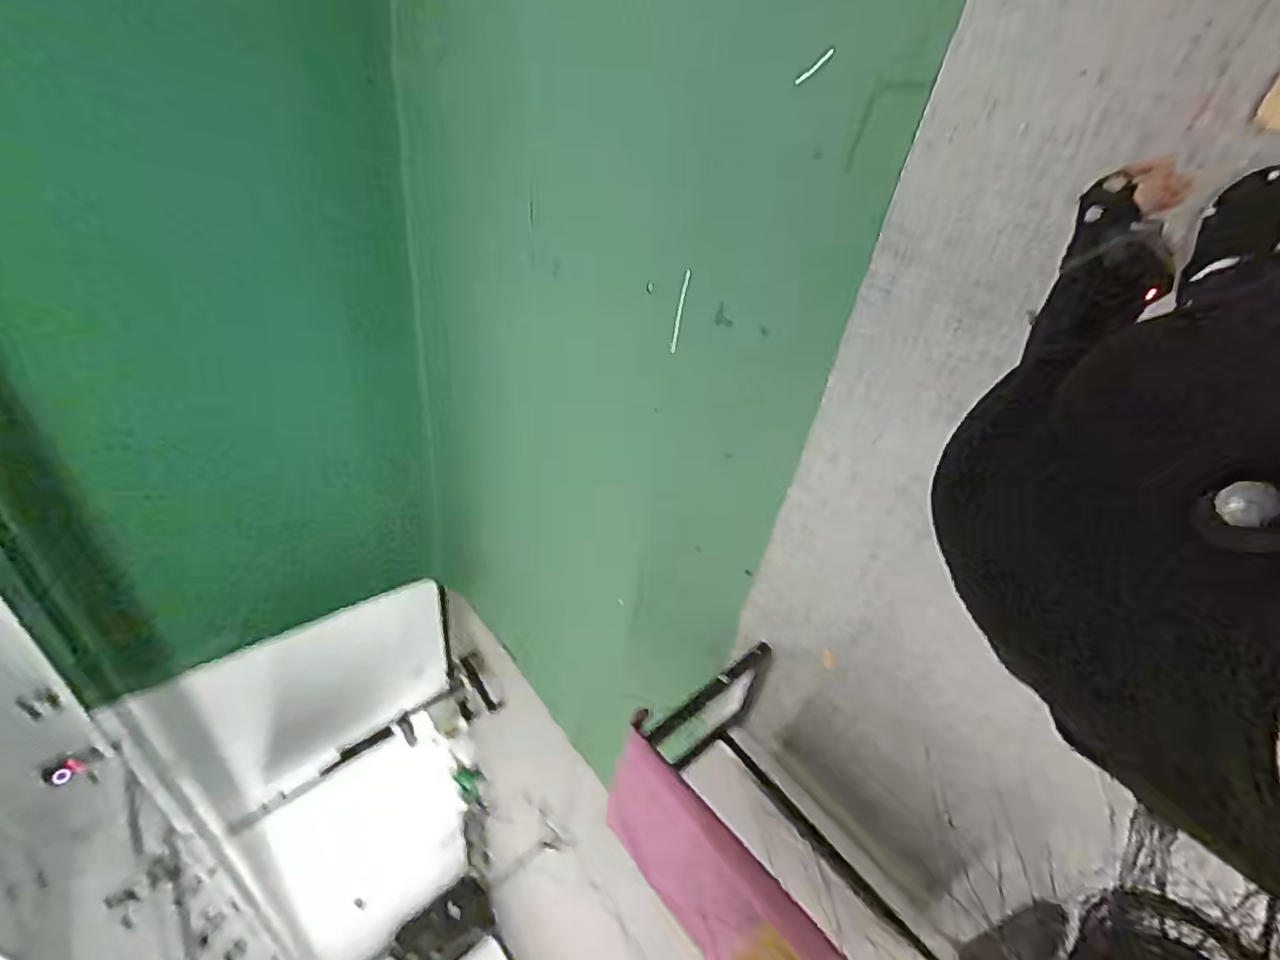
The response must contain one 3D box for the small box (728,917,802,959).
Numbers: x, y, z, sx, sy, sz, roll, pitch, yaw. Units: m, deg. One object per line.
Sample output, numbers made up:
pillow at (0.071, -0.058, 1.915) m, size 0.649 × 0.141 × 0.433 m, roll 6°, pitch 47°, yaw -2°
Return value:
small box at (0.320, 1.303, 1.410) m, size 0.168 × 0.176 × 0.179 m, roll 39°, pitch 134°, yaw 32°
